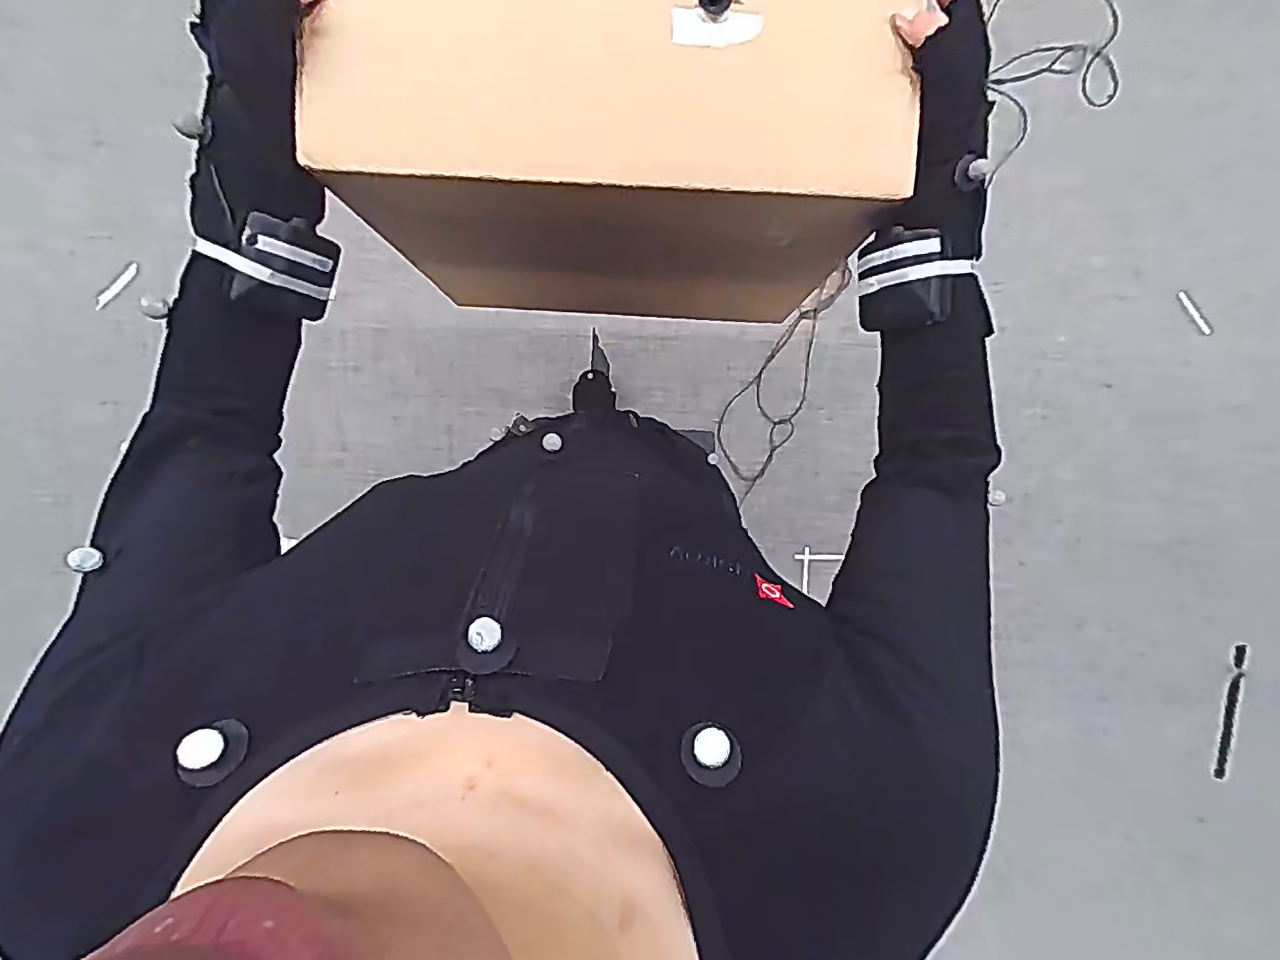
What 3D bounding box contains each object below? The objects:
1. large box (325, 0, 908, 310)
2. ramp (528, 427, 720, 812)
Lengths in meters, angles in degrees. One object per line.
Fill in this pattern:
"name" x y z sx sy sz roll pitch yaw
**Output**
"large box" -0.015 -0.364 0.517 0.408 0.320 0.320 3 92 -1
"ramp" -0.036 0.353 1.447 0.509 0.206 0.991 0 94 2
